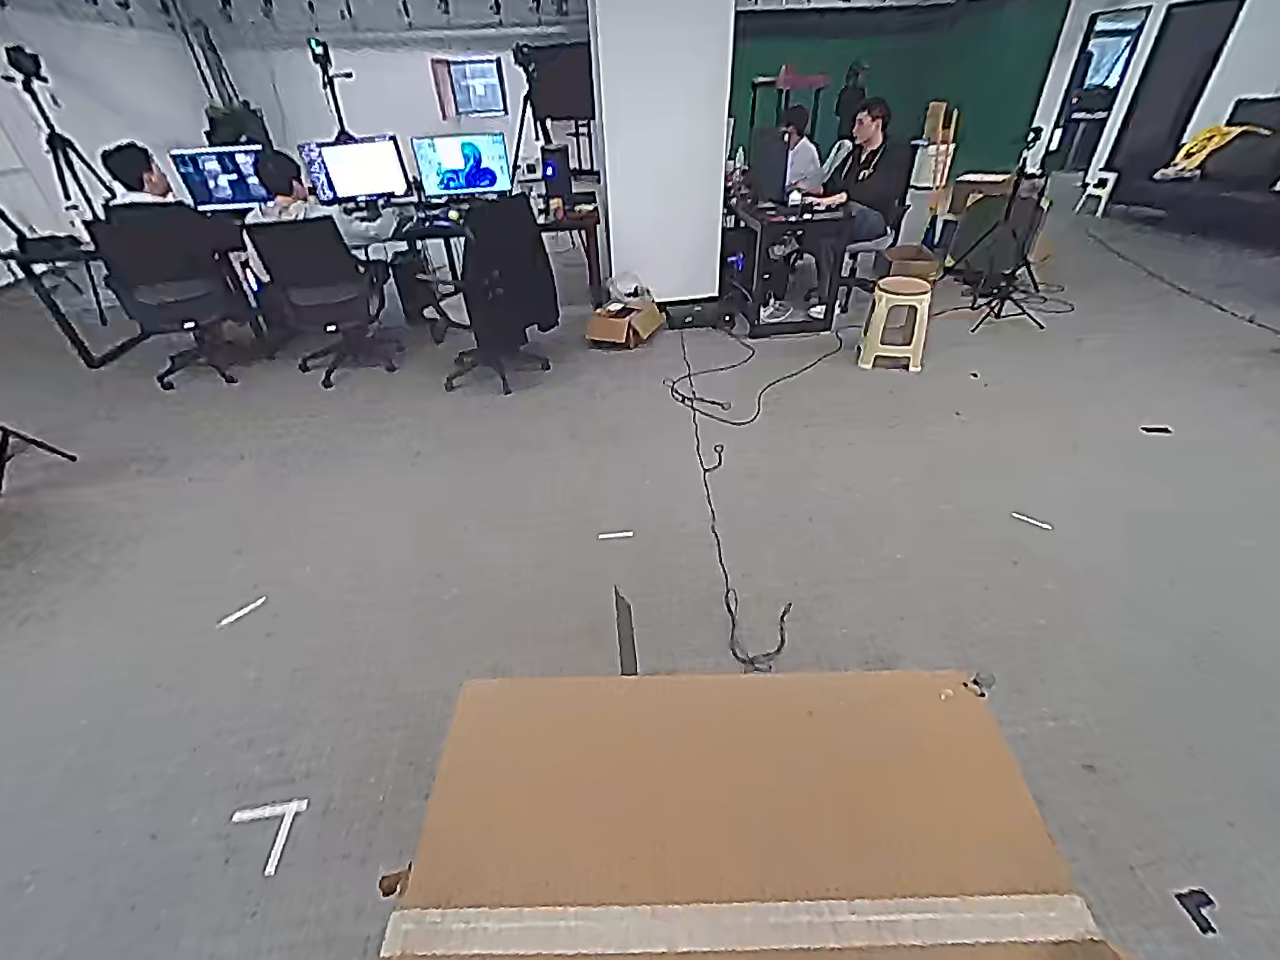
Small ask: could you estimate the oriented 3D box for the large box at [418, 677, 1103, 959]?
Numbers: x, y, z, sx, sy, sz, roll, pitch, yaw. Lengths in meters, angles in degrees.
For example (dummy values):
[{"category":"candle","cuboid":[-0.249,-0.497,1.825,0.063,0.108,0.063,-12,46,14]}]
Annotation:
[{"category":"large box","cuboid":[0.068,0.379,0.423,0.408,0.320,0.320,-1,43,0]}]
